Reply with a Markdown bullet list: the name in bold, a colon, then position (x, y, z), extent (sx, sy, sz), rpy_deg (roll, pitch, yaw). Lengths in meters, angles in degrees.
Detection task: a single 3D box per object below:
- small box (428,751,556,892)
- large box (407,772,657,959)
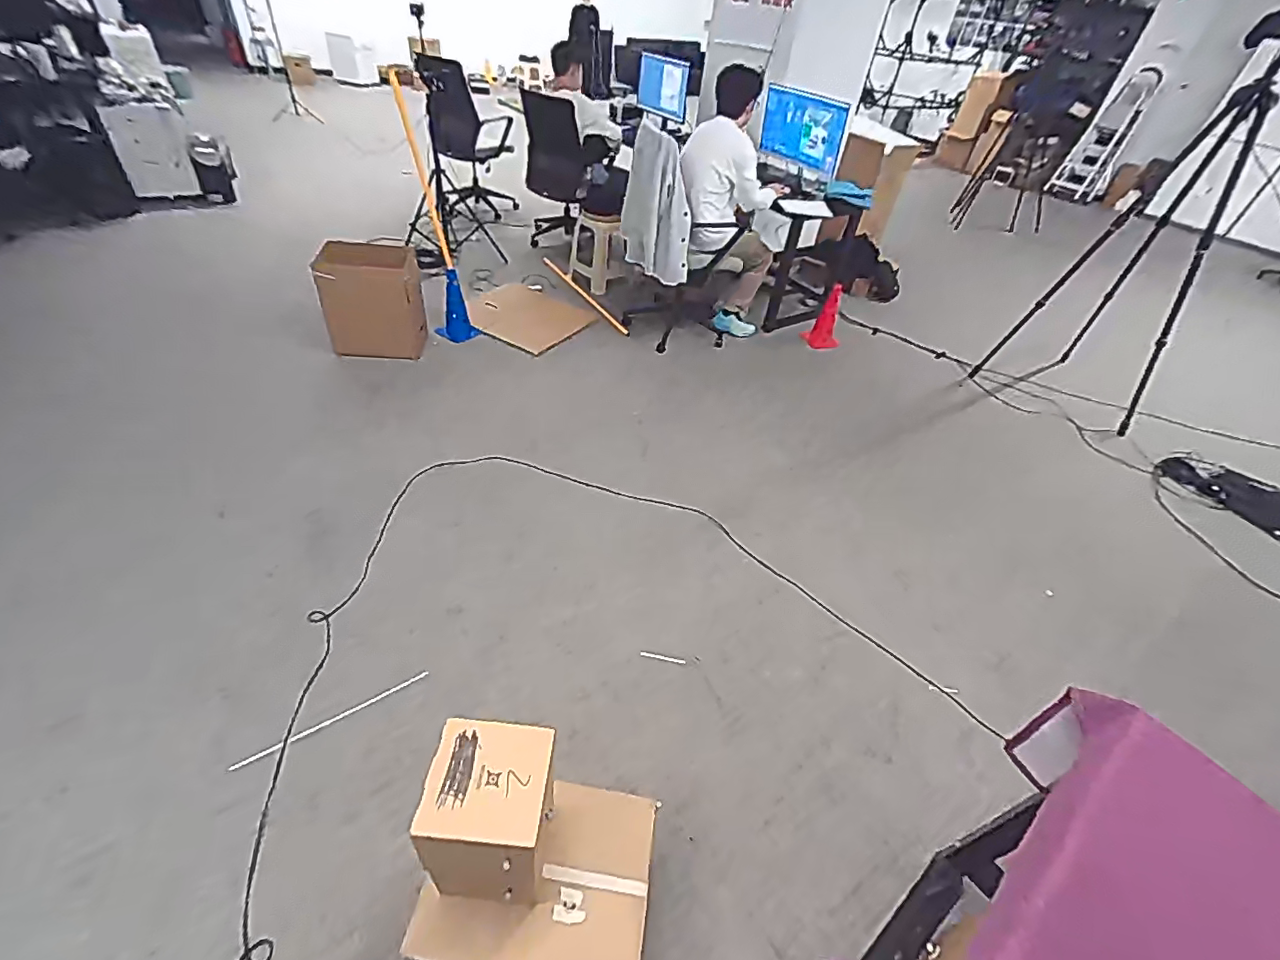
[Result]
- **small box**: position (-0.251, 0.612, 0.965), extent (0.179, 0.176, 0.168), rpy_deg (7, 41, 0)
- **large box**: position (-0.198, 0.820, 1.112), extent (0.408, 0.320, 0.320), rpy_deg (11, 44, 1)
